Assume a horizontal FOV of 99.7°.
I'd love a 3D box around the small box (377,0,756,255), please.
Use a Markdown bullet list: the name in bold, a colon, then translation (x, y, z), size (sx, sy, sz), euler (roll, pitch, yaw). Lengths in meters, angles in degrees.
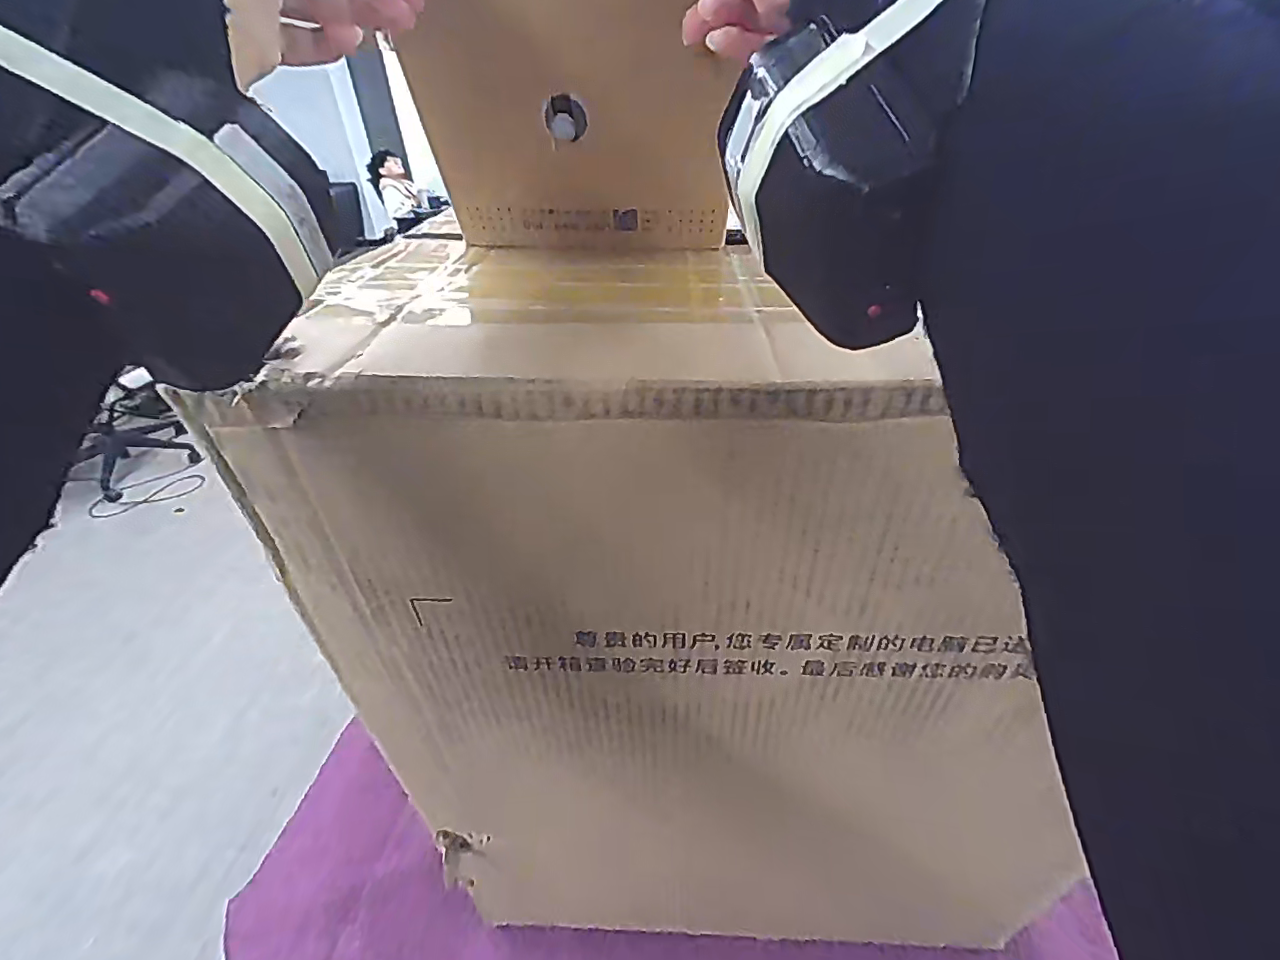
- **small box**: translation (-0.024, -0.253, 0.309), size (0.168, 0.176, 0.179), euler (3, 63, 2)
